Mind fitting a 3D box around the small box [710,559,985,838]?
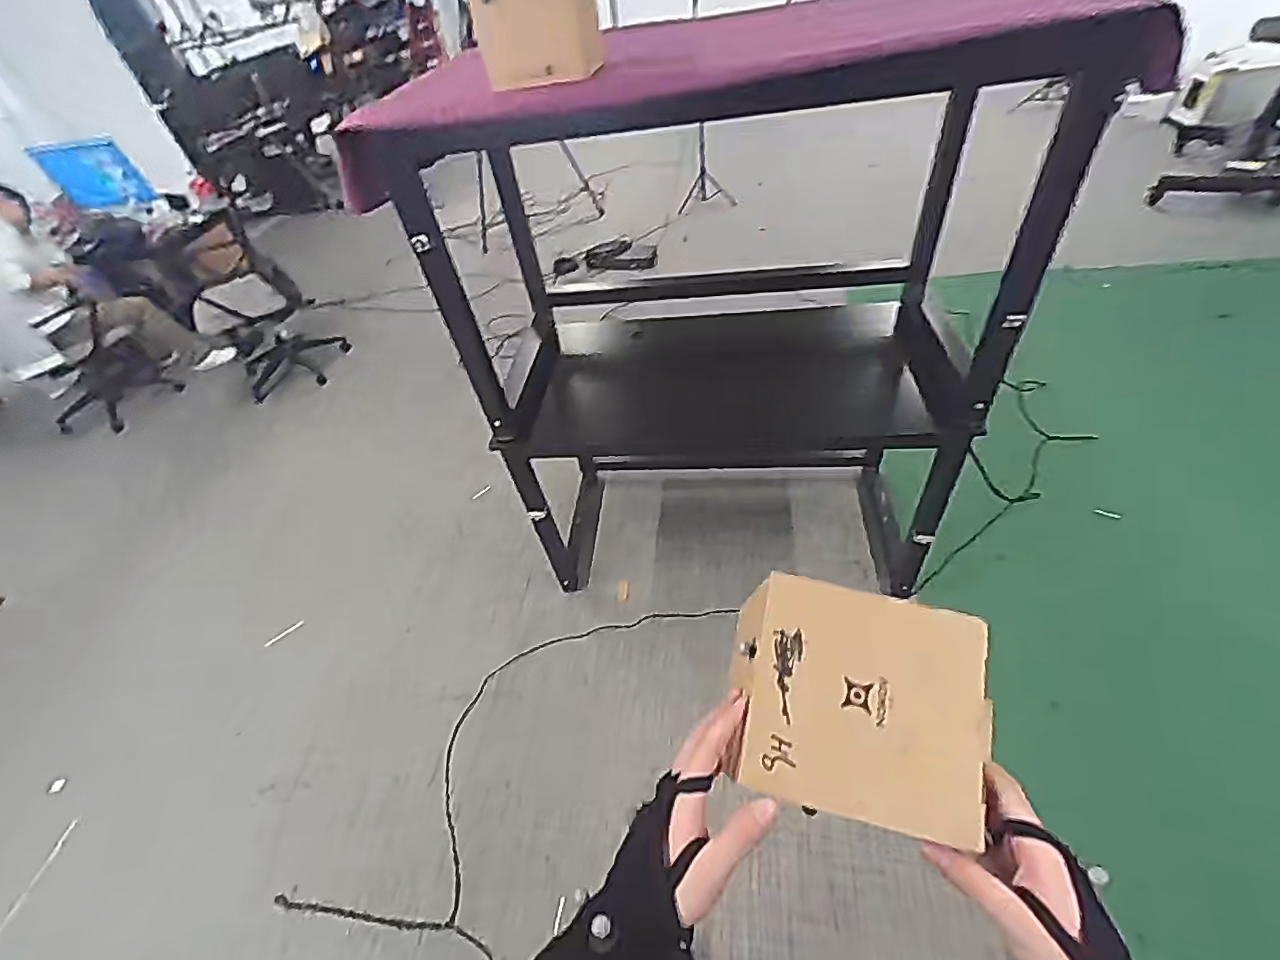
[{"bbox_3d":[0.171,0.186,0.483,0.179,0.176,0.168,13,68,5],"label":"small box"}]
